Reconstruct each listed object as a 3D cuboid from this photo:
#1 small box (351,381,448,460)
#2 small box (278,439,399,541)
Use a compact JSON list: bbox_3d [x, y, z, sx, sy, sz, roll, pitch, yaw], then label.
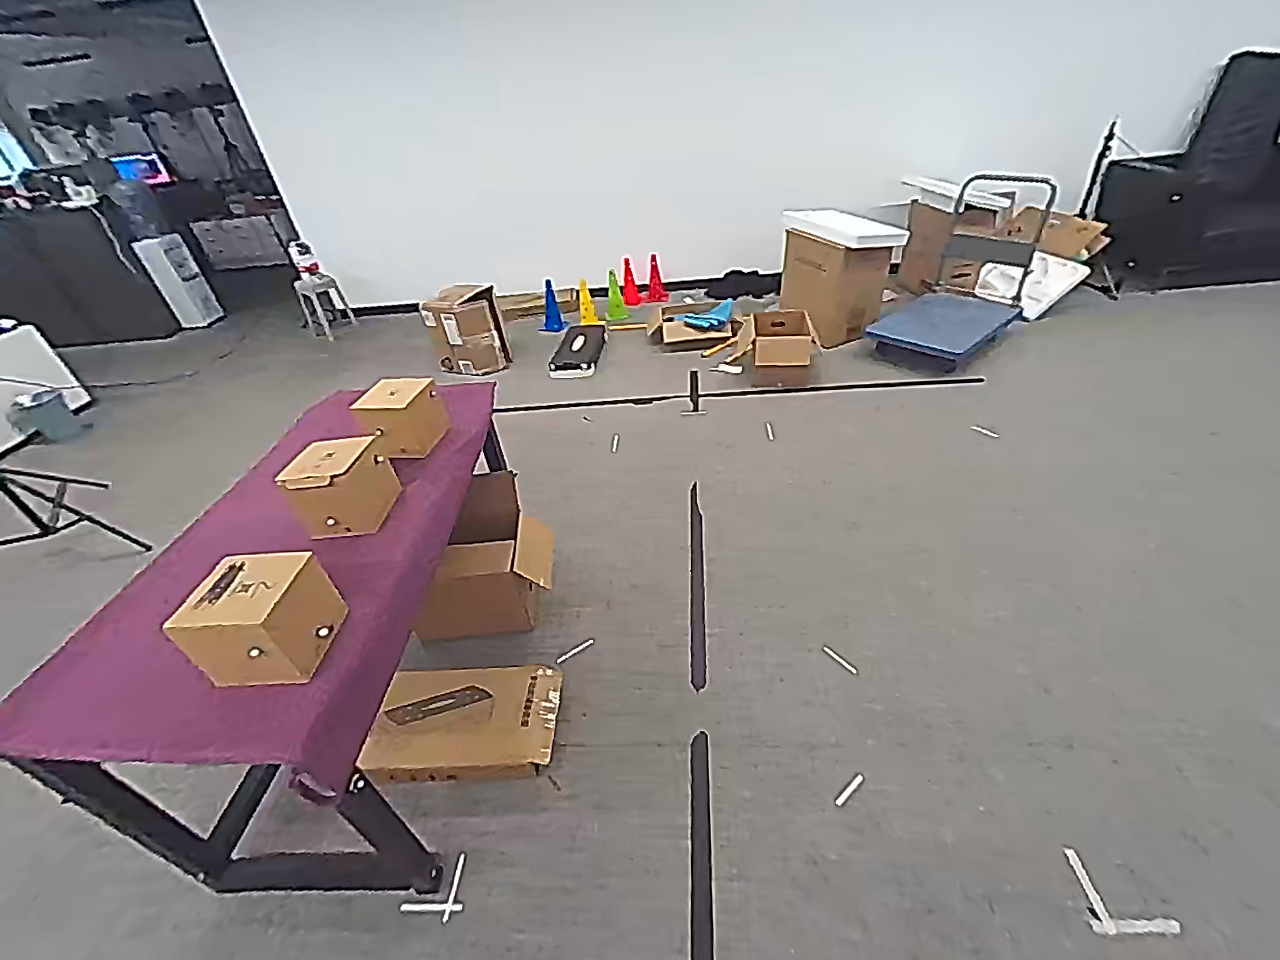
[{"bbox_3d":[-0.677,-0.167,1.550,0.168,0.176,0.179,0,37,10],"label":"small box"},{"bbox_3d":[-0.707,0.023,1.297,0.168,0.176,0.179,-6,36,6],"label":"small box"}]
